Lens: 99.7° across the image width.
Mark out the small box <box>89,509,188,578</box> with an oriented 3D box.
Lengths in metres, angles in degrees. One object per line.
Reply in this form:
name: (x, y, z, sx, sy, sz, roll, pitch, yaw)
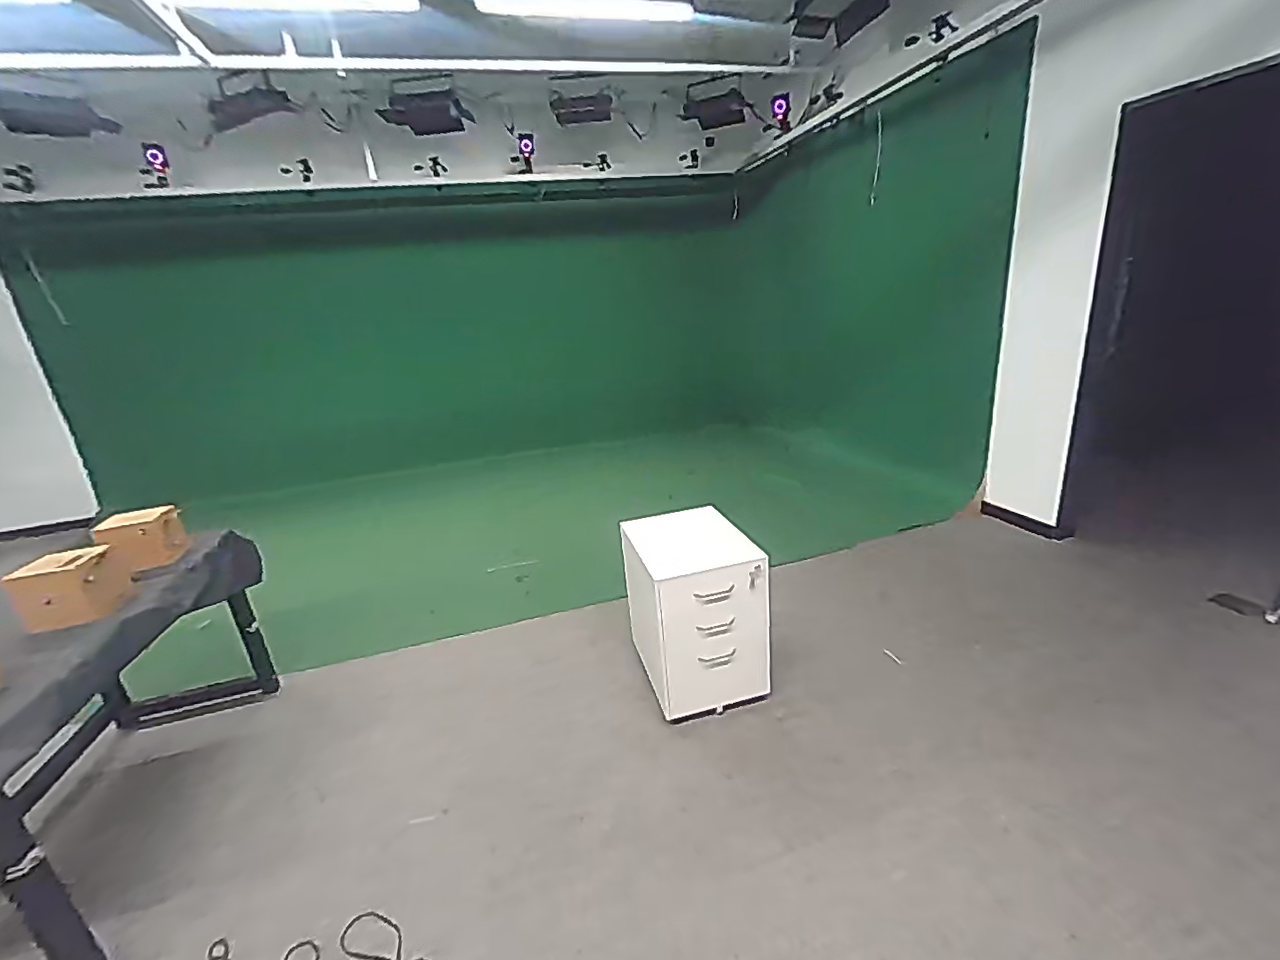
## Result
small box: (-1.709, 0.217, 1.853, 0.179, 0.176, 0.168, -12, 19, -18)
